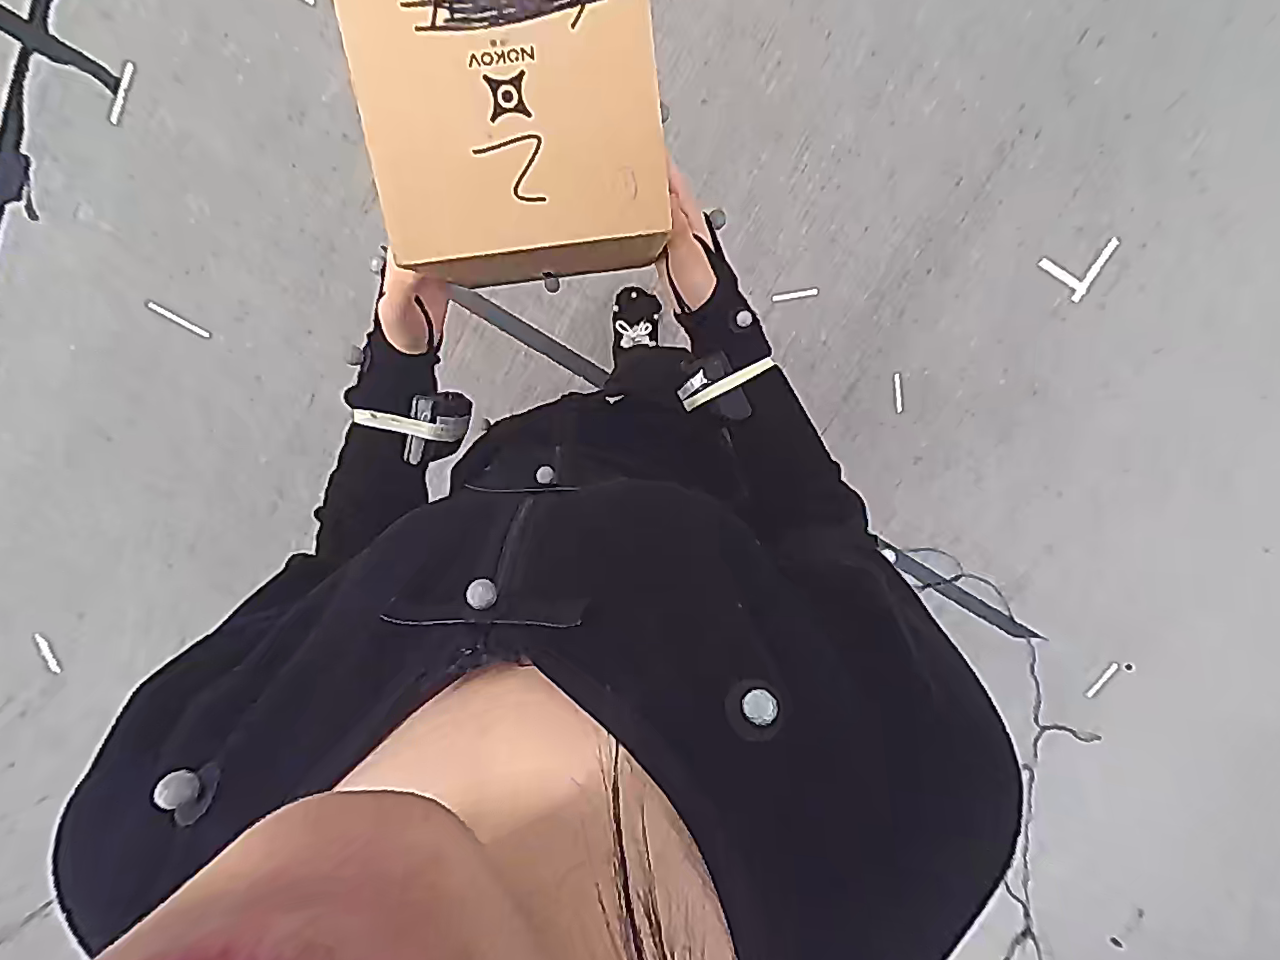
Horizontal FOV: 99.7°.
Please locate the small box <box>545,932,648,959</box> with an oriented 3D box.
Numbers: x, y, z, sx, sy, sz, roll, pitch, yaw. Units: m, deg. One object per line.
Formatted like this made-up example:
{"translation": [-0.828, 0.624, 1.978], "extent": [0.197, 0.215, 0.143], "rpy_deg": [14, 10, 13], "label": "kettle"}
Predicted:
{"translation": [-0.088, 0.925, 0.919], "extent": [0.179, 0.176, 0.168], "rpy_deg": [27, 102, -9], "label": "small box"}
